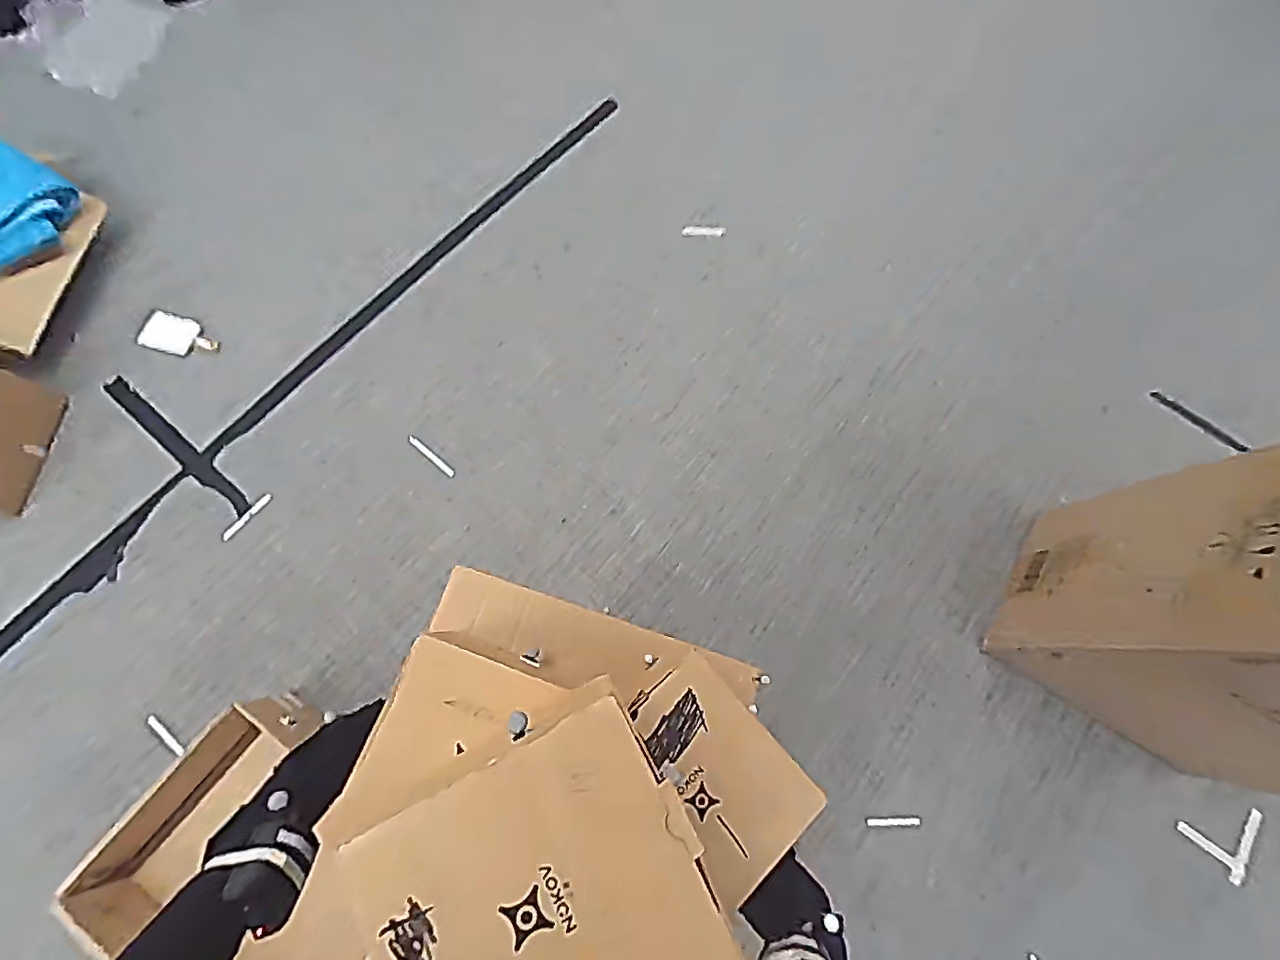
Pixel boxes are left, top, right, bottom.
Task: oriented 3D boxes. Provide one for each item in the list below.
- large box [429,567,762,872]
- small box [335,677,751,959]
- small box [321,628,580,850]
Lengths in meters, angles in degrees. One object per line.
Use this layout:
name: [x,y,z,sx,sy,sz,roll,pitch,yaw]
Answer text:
large box: [-0.098,0.341,0.760,0.408,0.320,0.320,18,74,-2]
small box: [-0.059,0.249,0.365,0.179,0.176,0.168,-26,77,-12]
small box: [-0.158,0.256,0.526,0.168,0.176,0.179,21,73,-2]
